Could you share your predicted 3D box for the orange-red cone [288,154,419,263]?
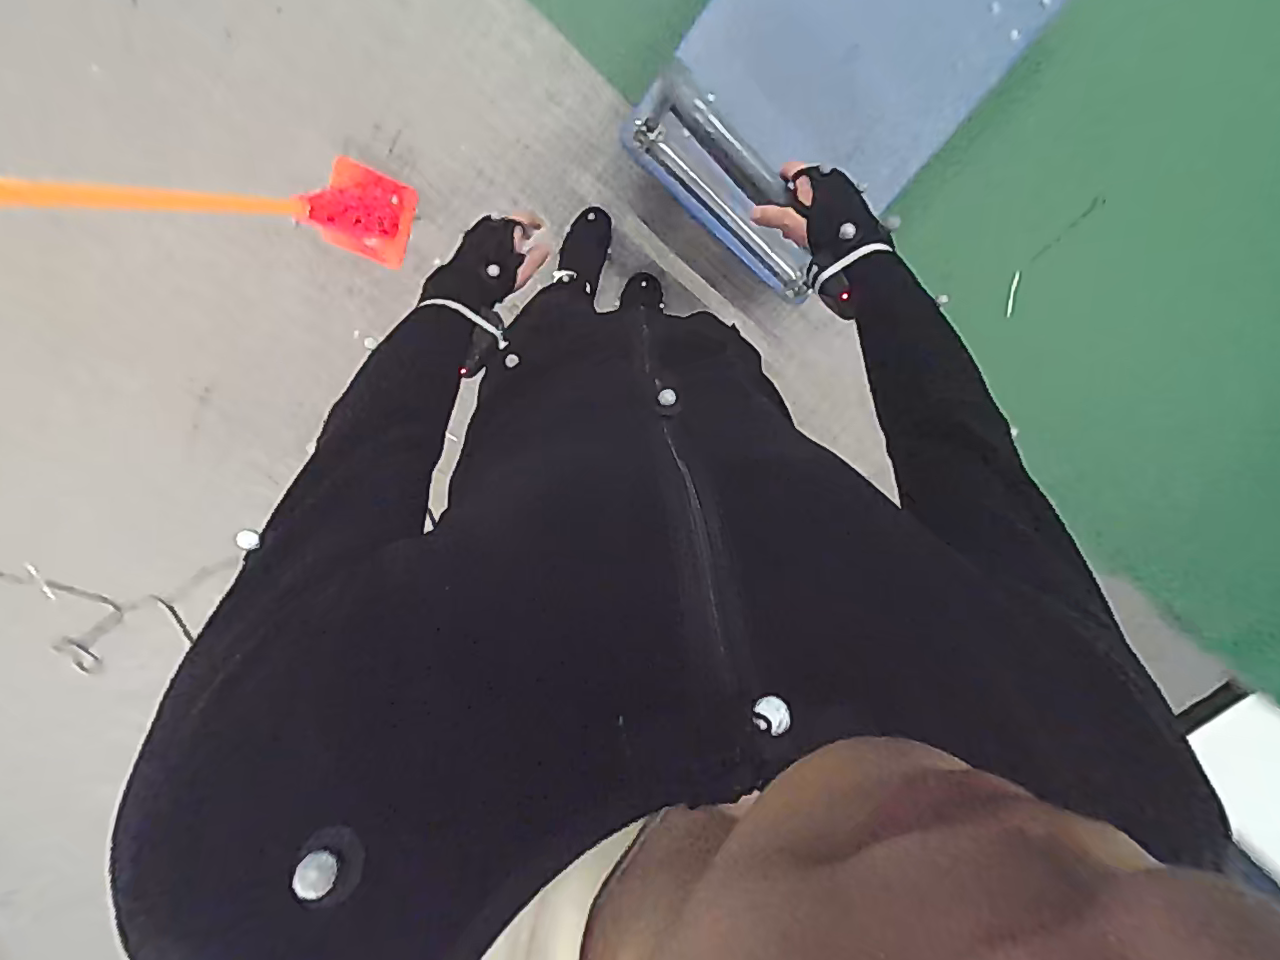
[{"bbox_3d":[-0.662,-0.602,1.187,0.199,0.360,0.198,23,111,-12],"label":"orange-red cone"}]
